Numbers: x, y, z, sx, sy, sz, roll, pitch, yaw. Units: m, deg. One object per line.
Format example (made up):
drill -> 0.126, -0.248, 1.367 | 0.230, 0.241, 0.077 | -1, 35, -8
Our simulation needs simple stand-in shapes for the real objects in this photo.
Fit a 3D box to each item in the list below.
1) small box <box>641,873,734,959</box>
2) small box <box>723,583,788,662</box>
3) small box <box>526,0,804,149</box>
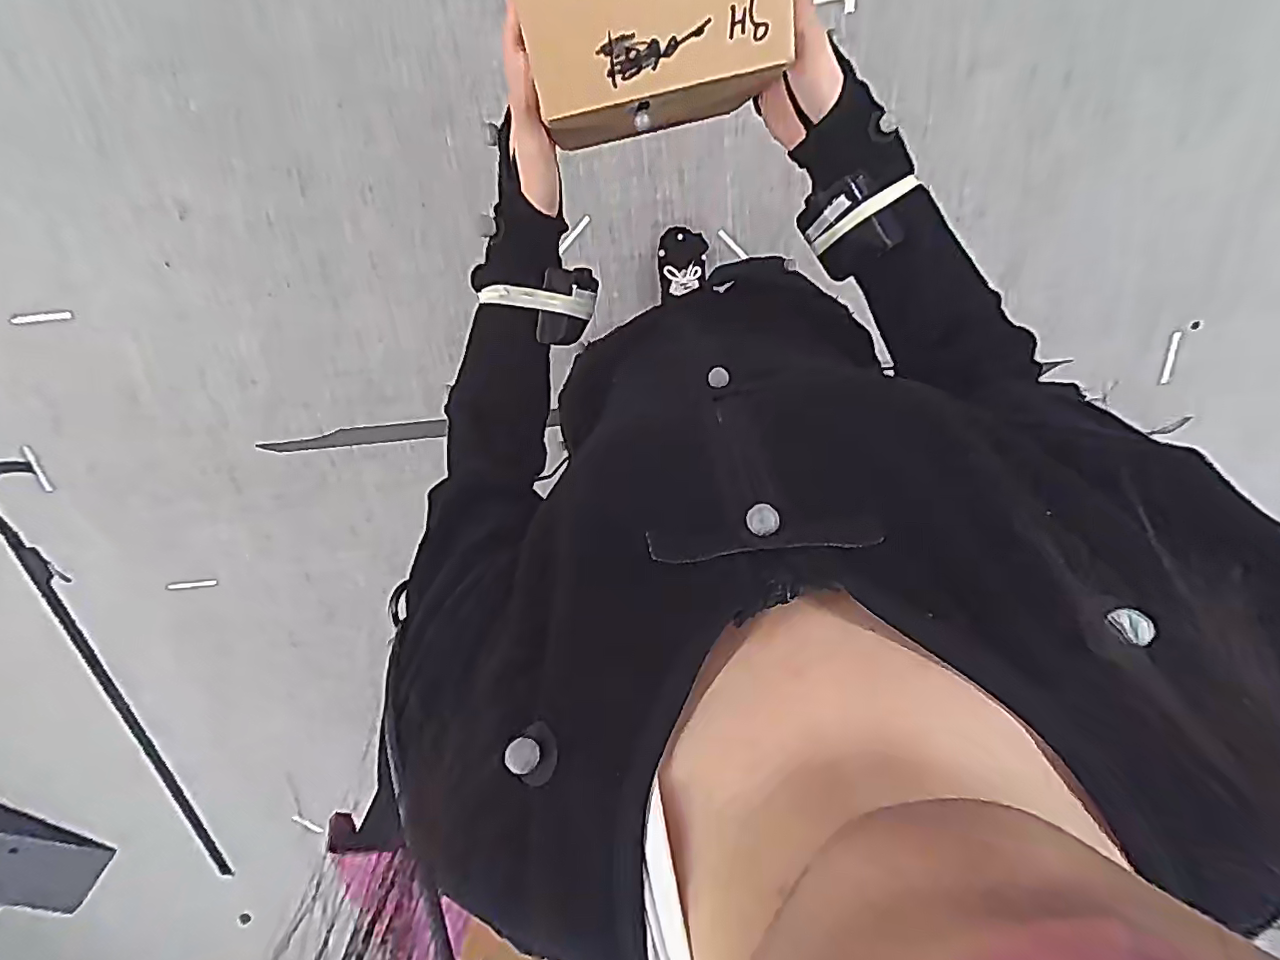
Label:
small box -> 0.091, 0.901, 1.055 | 0.168, 0.176, 0.179 | -5, 115, 2
small box -> 0.349, 0.428, 1.654 | 0.168, 0.176, 0.179 | -5, 114, 1
small box -> 0.001, -0.356, 0.376 | 0.168, 0.176, 0.179 | -12, 115, 2
